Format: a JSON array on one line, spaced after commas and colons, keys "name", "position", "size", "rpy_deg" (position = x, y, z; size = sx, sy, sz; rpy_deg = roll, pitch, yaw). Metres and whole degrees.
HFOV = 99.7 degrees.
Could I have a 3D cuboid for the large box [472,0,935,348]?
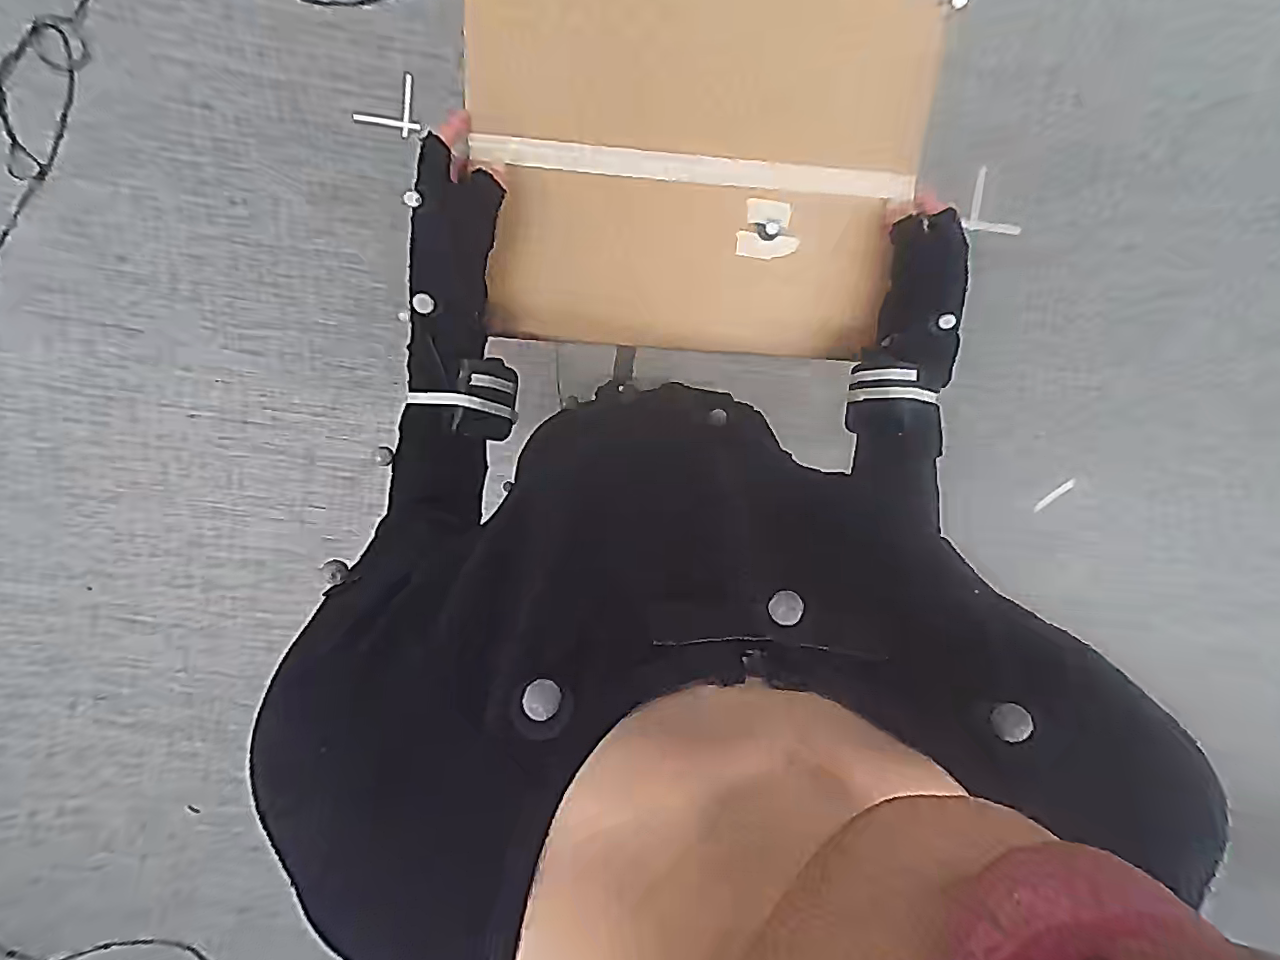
[{"name": "large box", "position": [0.039, -0.327, 0.633], "size": [0.408, 0.320, 0.320], "rpy_deg": [2, 107, -6]}]
